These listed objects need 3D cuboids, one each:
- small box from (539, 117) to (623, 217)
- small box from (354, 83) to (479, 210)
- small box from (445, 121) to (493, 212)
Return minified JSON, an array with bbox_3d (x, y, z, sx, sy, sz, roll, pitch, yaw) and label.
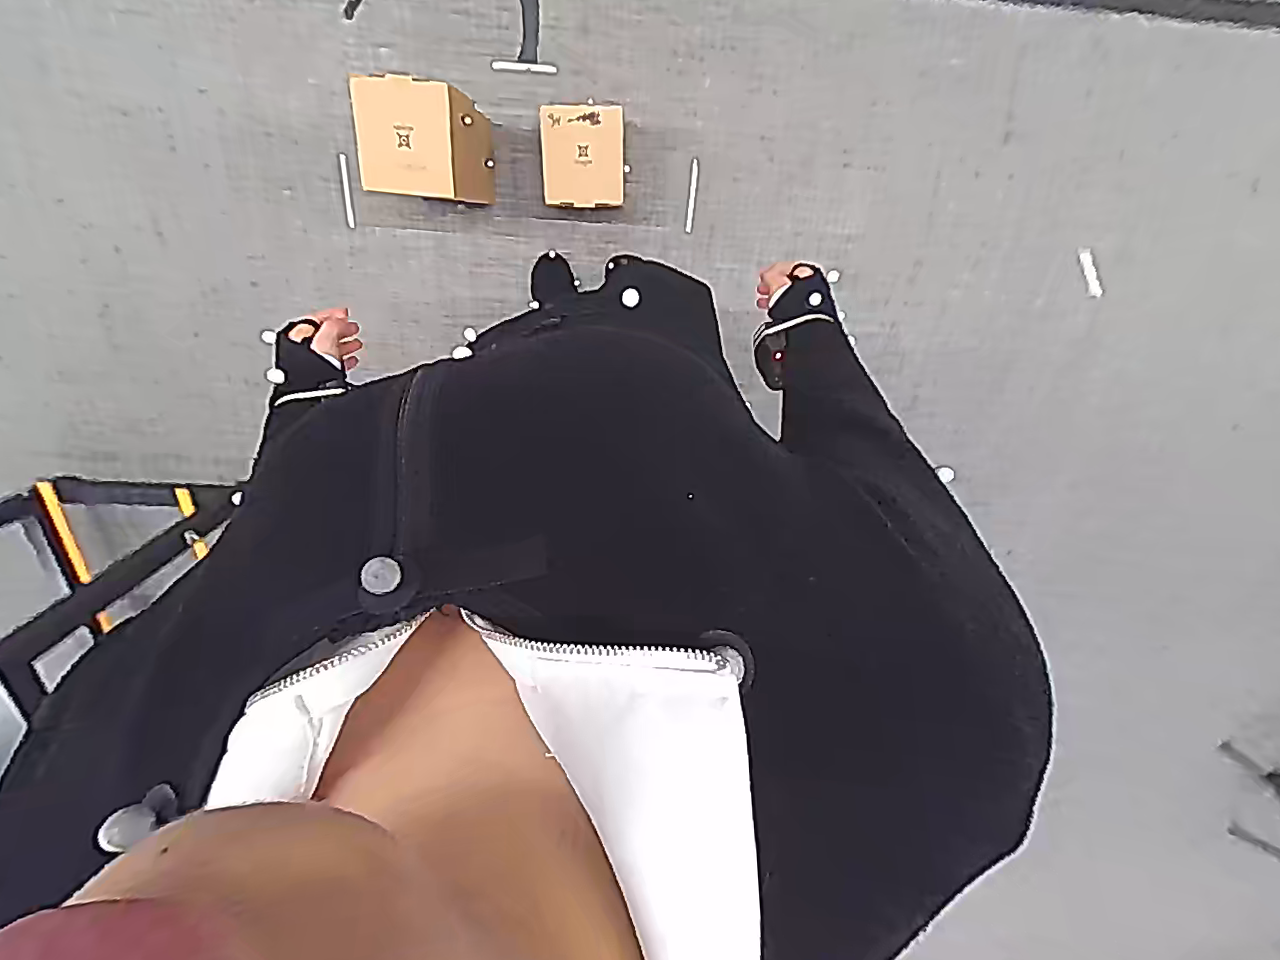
[{"bbox_3d":[-0.122,-0.674,1.179,0.168,0.176,0.179,1,115,-1],"label":"small box"},{"bbox_3d":[-0.409,-0.617,1.019,0.168,0.176,0.179,4,116,-2],"label":"small box"},{"bbox_3d":[-0.420,-0.681,1.168,0.179,0.176,0.168,5,114,-3],"label":"small box"}]
